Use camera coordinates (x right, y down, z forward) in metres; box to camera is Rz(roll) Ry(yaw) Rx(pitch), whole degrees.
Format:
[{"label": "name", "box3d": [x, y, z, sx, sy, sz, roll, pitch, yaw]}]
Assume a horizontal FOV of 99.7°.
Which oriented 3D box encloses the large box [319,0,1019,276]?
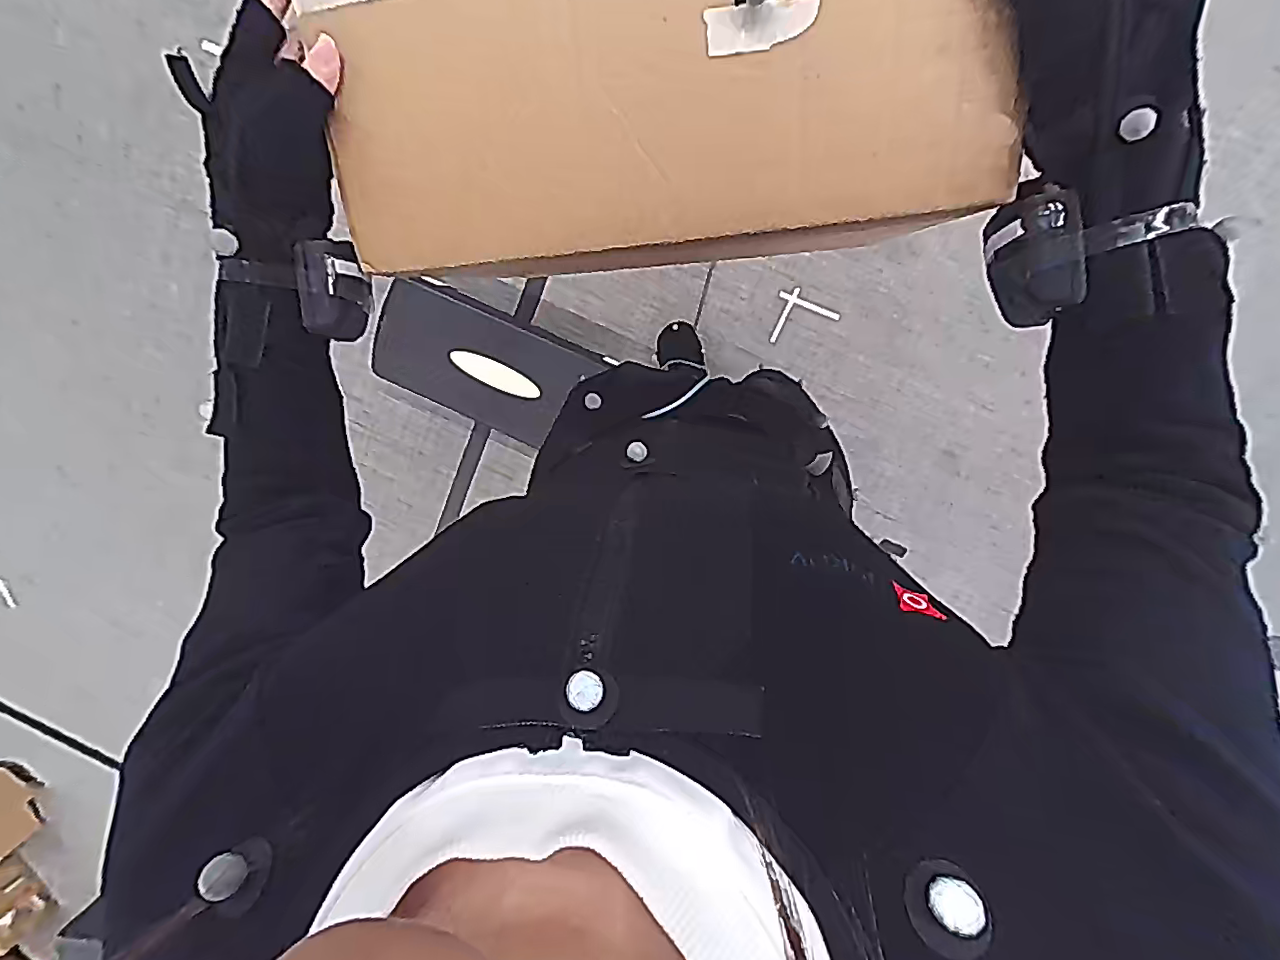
[{"label": "large box", "box3d": [0.018, -0.353, 0.435, 0.408, 0.320, 0.320, -3, 110, 10]}]
